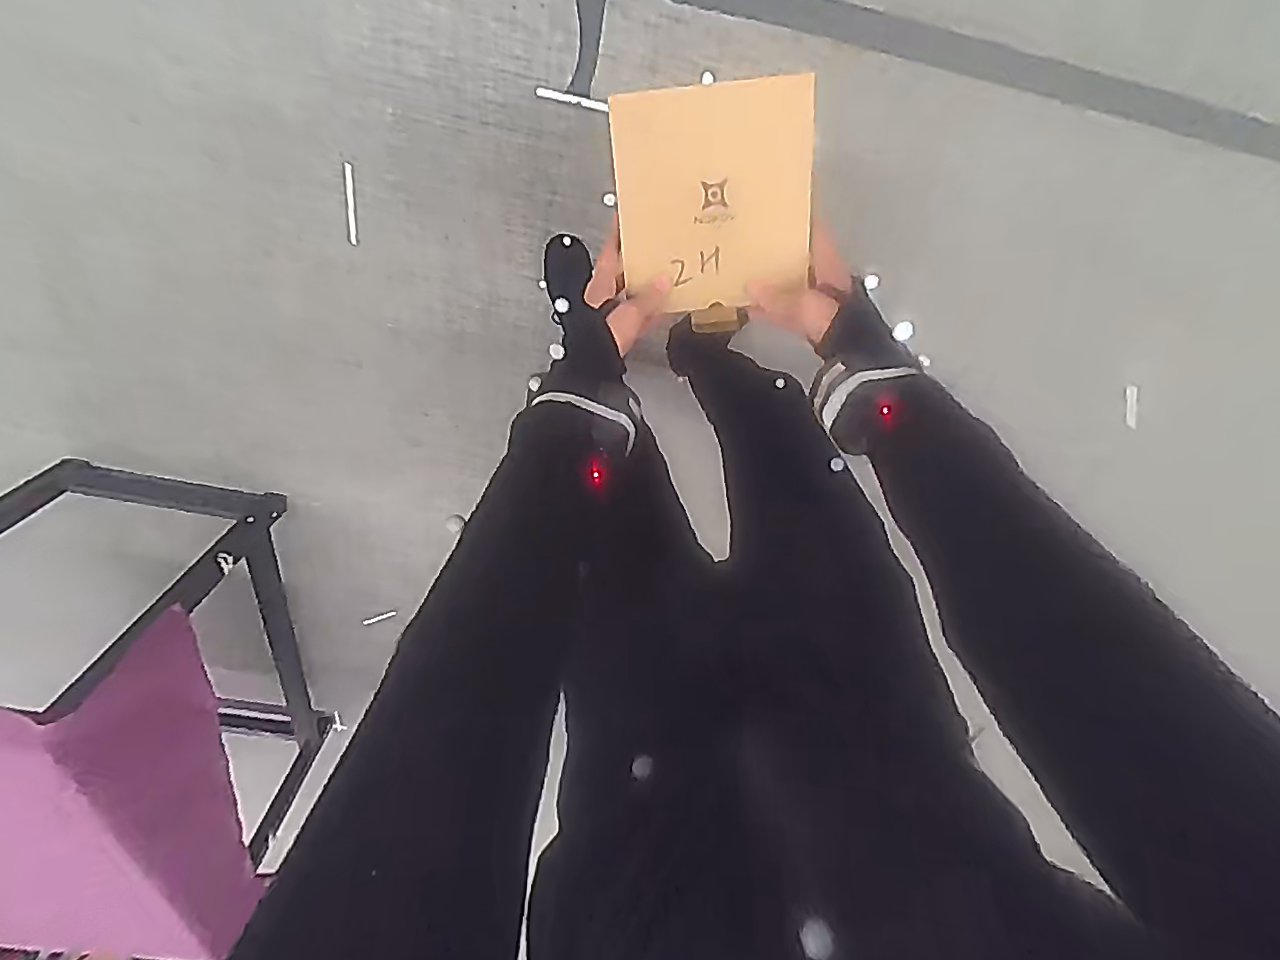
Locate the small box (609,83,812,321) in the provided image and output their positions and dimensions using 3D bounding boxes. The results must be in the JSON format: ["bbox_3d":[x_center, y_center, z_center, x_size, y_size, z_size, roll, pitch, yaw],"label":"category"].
[{"bbox_3d":[0.063,-0.271,0.538,0.168,0.176,0.179,-3,121,5],"label":"small box"}]
